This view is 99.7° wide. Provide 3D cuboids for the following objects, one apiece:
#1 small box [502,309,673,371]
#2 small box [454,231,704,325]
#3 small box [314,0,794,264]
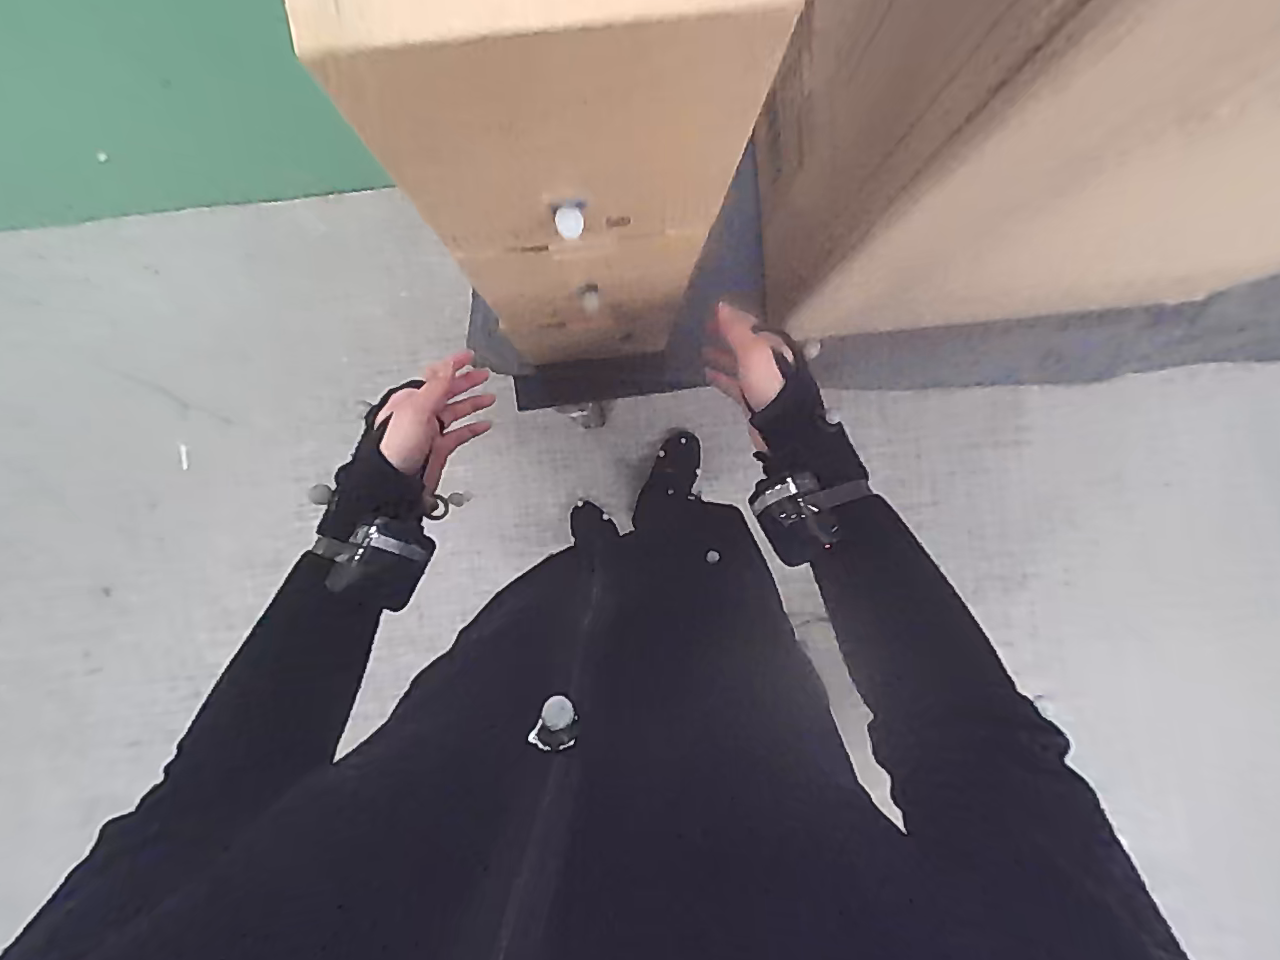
[{"bbox_3d":[-0.061,-0.225,0.594,0.168,0.176,0.179,-9,89,-3],"label":"small box"},{"bbox_3d":[-0.050,-0.231,0.430,0.168,0.176,0.179,-7,91,-3],"label":"small box"},{"bbox_3d":[-0.041,-0.231,0.265,0.168,0.176,0.179,-8,91,-2],"label":"small box"}]
